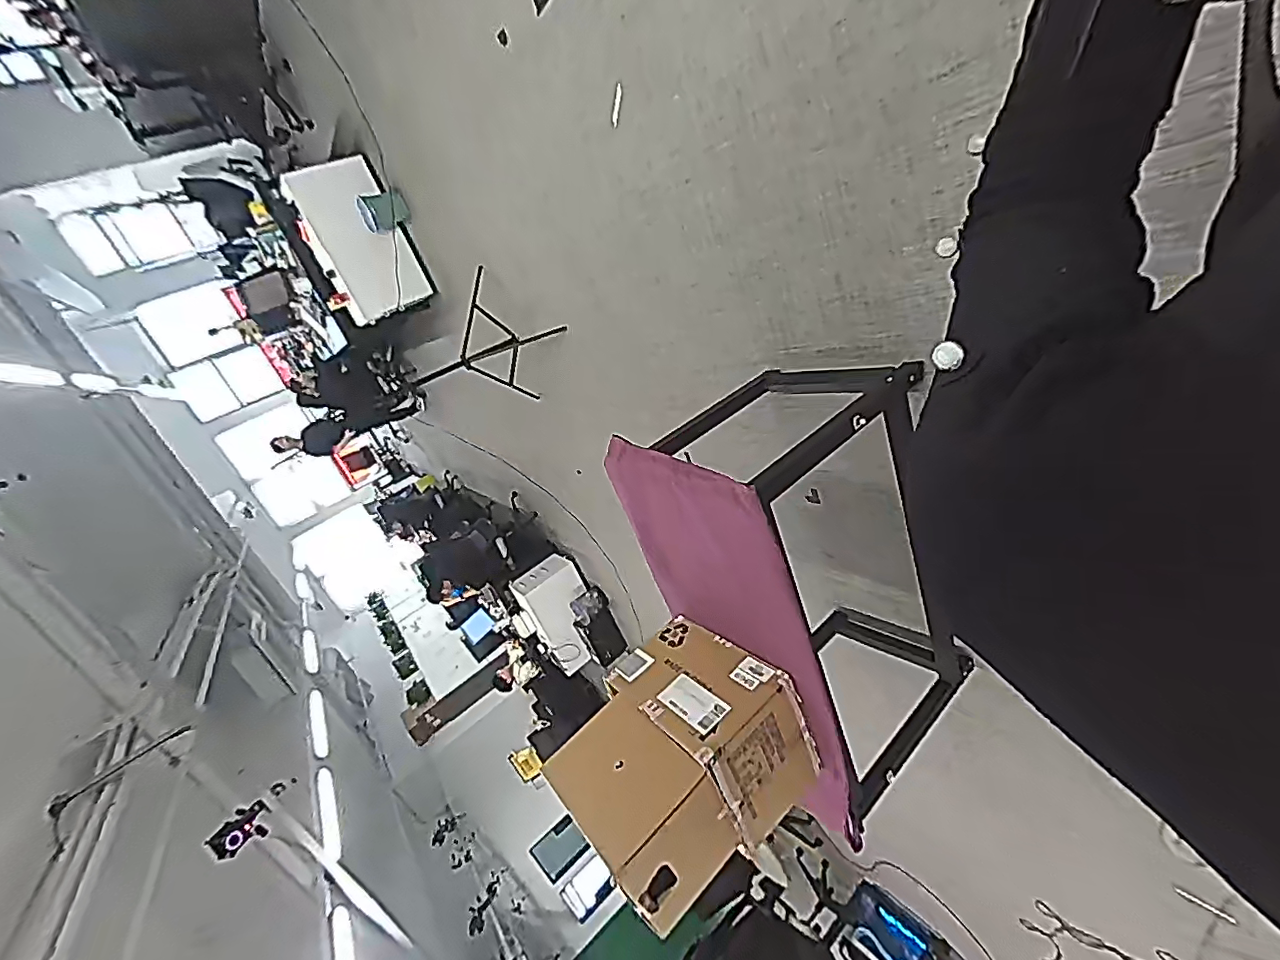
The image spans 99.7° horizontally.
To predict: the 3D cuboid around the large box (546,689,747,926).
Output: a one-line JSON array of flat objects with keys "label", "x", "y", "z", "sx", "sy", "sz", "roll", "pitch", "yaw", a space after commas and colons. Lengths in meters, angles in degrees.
[{"label": "large box", "x": 0.012, "y": 0.853, "z": 1.472, "sx": 0.408, "sy": 0.320, "sz": 0.320, "roll": 14, "pitch": 137, "yaw": 55}]
